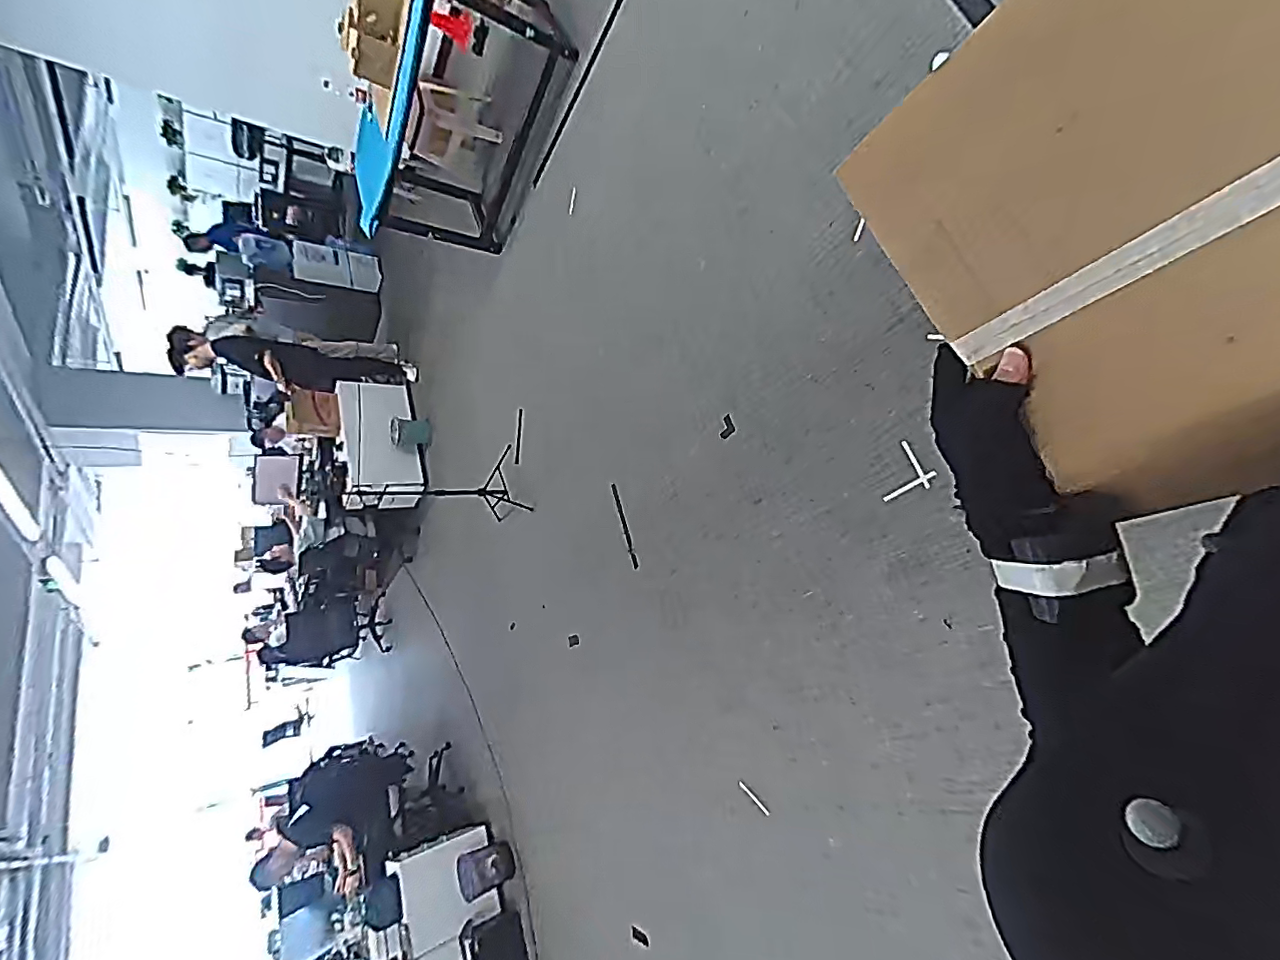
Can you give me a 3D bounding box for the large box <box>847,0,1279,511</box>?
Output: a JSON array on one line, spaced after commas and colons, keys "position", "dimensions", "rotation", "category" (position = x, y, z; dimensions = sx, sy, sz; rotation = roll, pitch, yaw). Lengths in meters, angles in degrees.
[{"position": [0.427, -0.237, 0.336], "dimensions": [0.320, 0.320, 0.408], "rotation": [53, 141, -2], "category": "large box"}]
